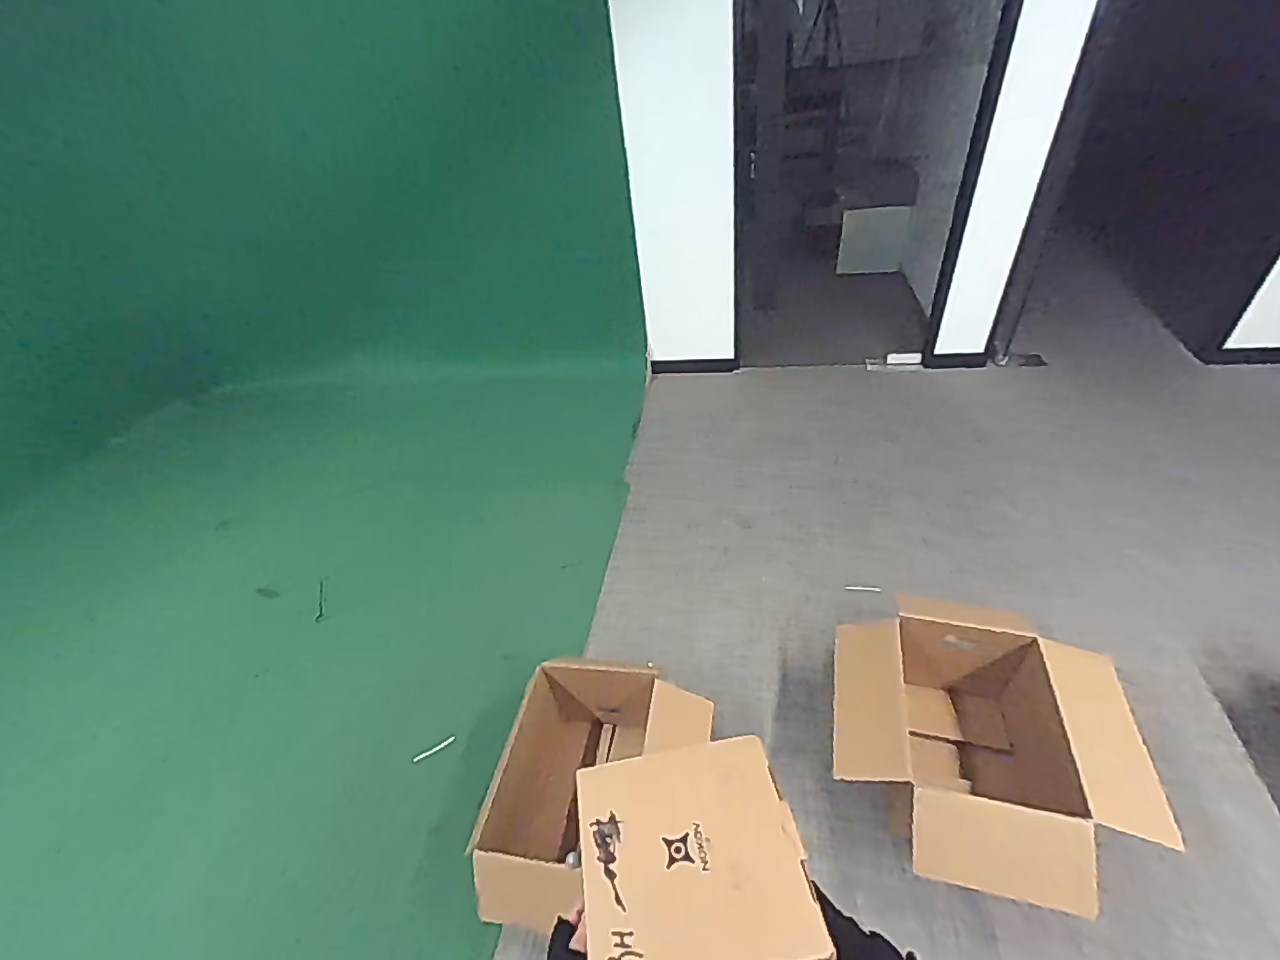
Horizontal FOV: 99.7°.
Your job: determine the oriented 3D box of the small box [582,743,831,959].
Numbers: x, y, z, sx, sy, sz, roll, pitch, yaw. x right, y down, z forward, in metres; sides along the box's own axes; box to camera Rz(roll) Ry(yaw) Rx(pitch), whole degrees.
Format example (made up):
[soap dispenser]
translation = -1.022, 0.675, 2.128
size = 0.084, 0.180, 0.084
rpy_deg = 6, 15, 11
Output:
[small box]
translation = 0.044, 0.369, 0.485
size = 0.179, 0.176, 0.168
rpy_deg = -7, 34, -5
